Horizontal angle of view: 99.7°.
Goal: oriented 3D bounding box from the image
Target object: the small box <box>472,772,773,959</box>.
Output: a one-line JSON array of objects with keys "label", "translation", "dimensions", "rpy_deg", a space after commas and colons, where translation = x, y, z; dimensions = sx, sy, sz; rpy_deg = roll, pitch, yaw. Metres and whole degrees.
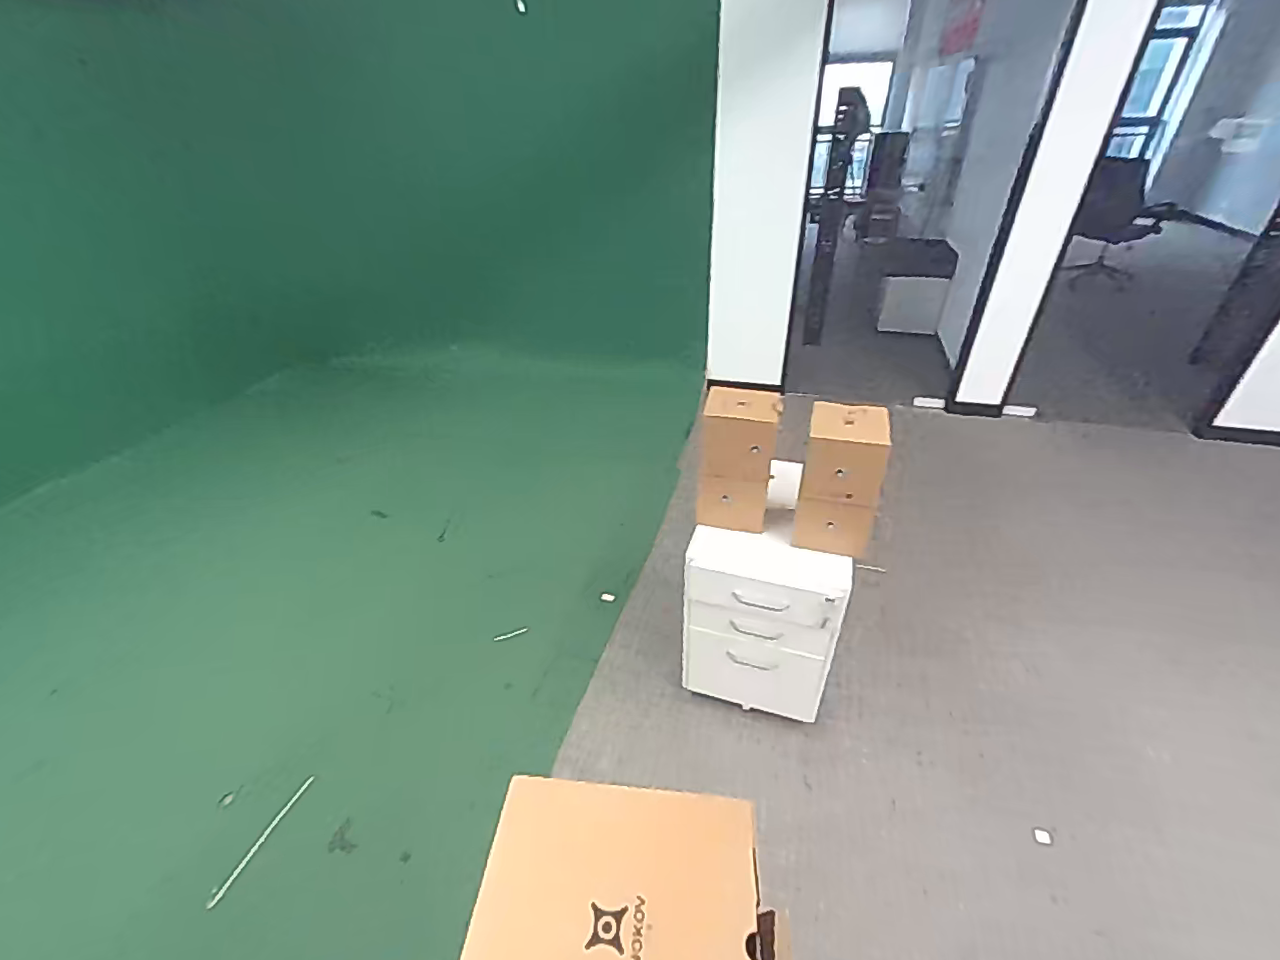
[{"label": "small box", "translation": [-0.008, 0.333, 0.373], "dimensions": [0.179, 0.176, 0.168], "rpy_deg": [4, 35, 4]}]

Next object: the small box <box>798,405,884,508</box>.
[{"label": "small box", "translation": [0.469, -0.056, 1.268], "dimensions": [0.168, 0.176, 0.179], "rpy_deg": [9, 36, 16]}]

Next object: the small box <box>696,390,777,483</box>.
[{"label": "small box", "translation": [0.242, -0.108, 1.358], "dimensions": [0.179, 0.176, 0.168], "rpy_deg": [7, 35, 11]}]

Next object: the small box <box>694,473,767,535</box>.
[{"label": "small box", "translation": [0.244, 0.027, 1.450], "dimensions": [0.179, 0.176, 0.168], "rpy_deg": [8, 36, 12]}]
